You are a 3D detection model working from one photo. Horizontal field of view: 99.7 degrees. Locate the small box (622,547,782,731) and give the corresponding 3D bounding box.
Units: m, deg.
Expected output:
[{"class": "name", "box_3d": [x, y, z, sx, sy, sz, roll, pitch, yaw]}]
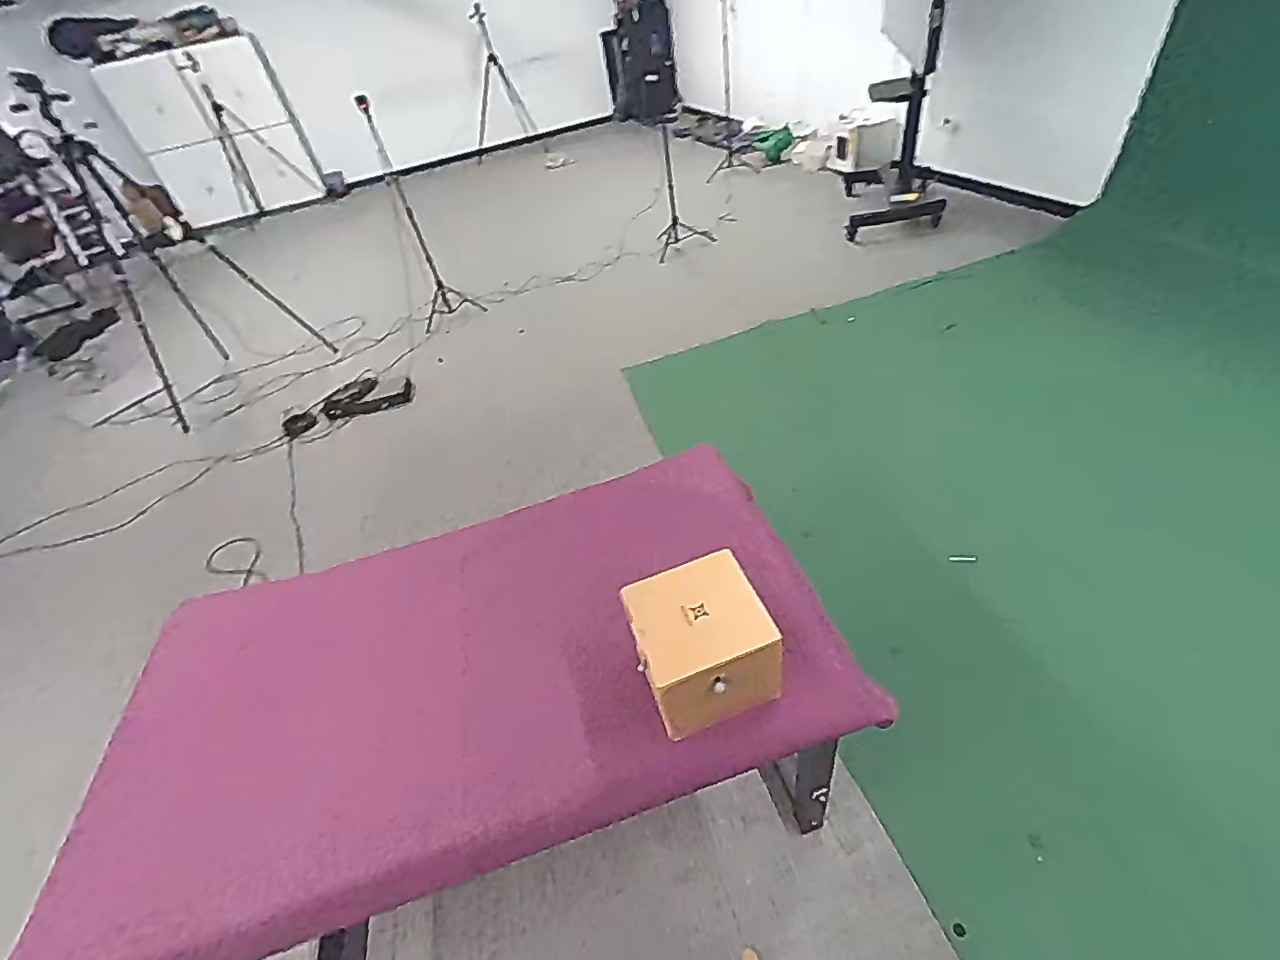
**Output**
[{"class": "small box", "box_3d": [0.092, 0.236, 0.798, 0.179, 0.176, 0.168, -22, 44, -6]}]
